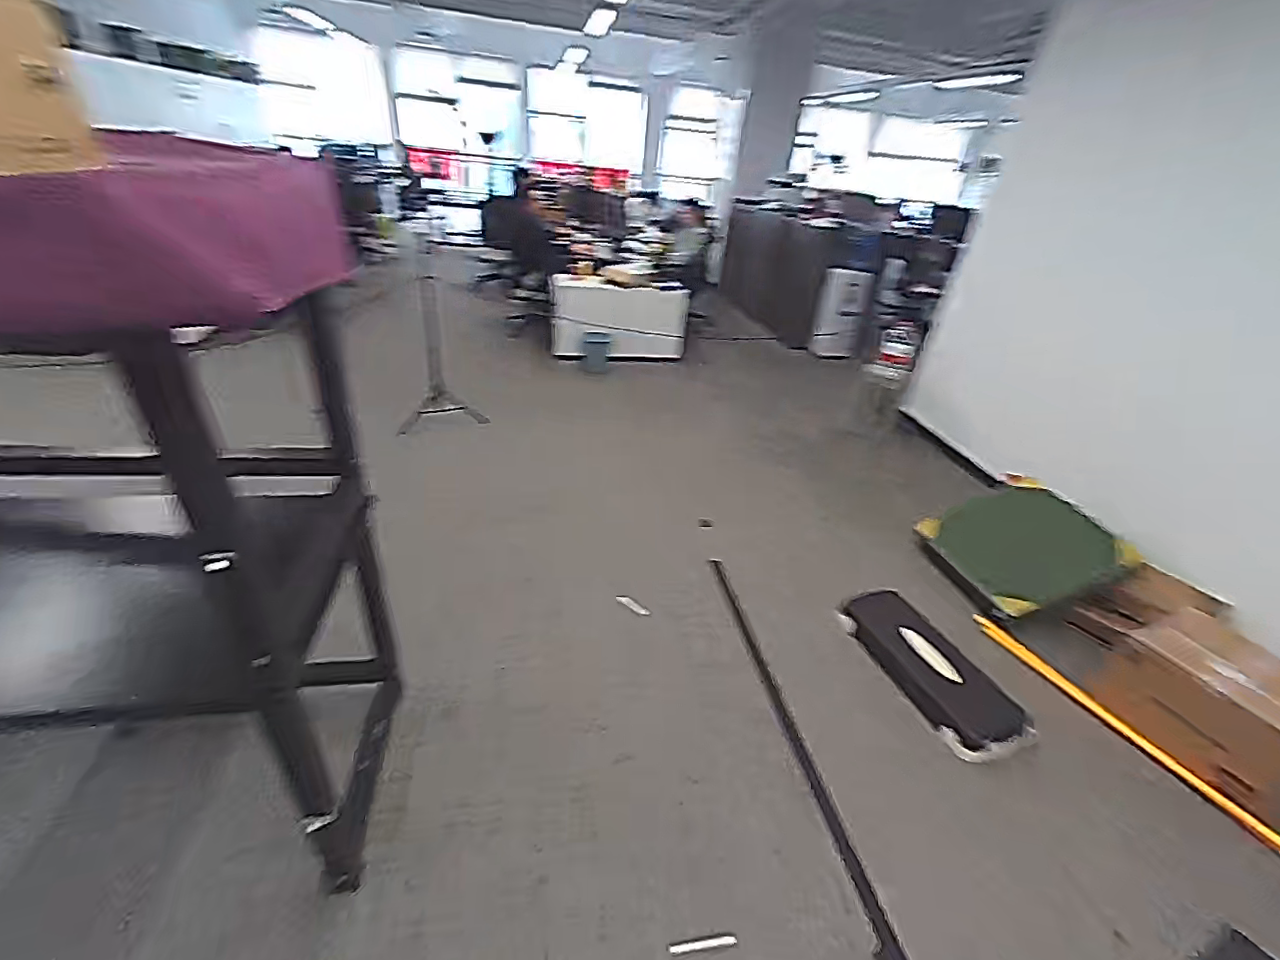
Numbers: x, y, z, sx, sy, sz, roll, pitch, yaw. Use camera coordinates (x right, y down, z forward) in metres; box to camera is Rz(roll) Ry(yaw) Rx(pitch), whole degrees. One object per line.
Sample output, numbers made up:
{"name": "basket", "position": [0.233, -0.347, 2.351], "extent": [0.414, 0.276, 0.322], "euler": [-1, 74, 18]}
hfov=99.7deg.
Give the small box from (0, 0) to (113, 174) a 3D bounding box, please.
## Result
{"name": "small box", "position": [-0.688, -0.400, 0.527], "extent": [0.179, 0.176, 0.168], "euler": [2, 30, -6]}
